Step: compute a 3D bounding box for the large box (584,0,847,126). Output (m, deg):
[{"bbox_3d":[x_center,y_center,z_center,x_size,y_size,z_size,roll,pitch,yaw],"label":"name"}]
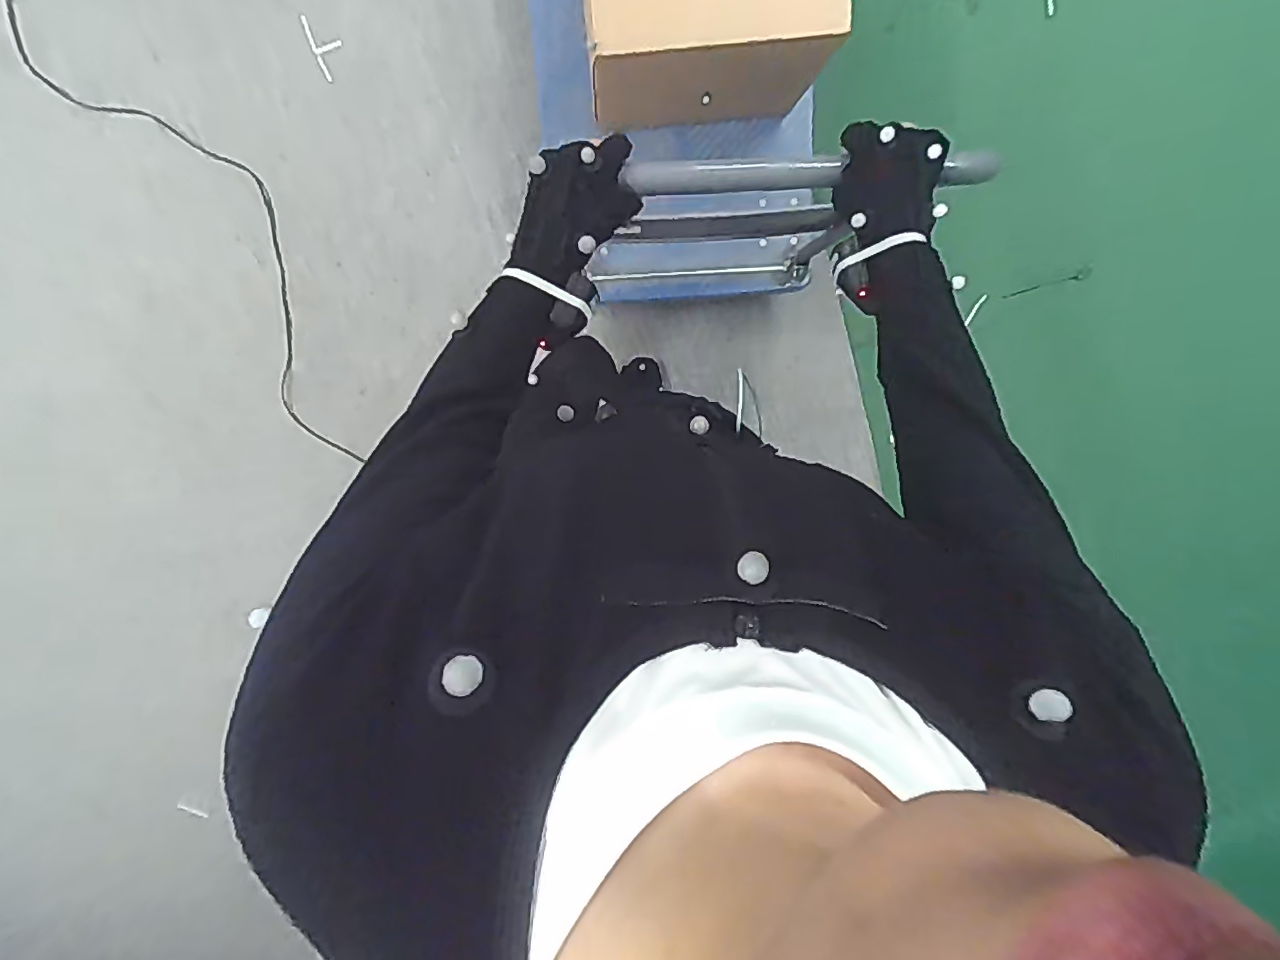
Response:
[{"bbox_3d":[0.104,-0.865,0.946,0.408,0.320,0.320,-7,104,-1],"label":"large box"}]
